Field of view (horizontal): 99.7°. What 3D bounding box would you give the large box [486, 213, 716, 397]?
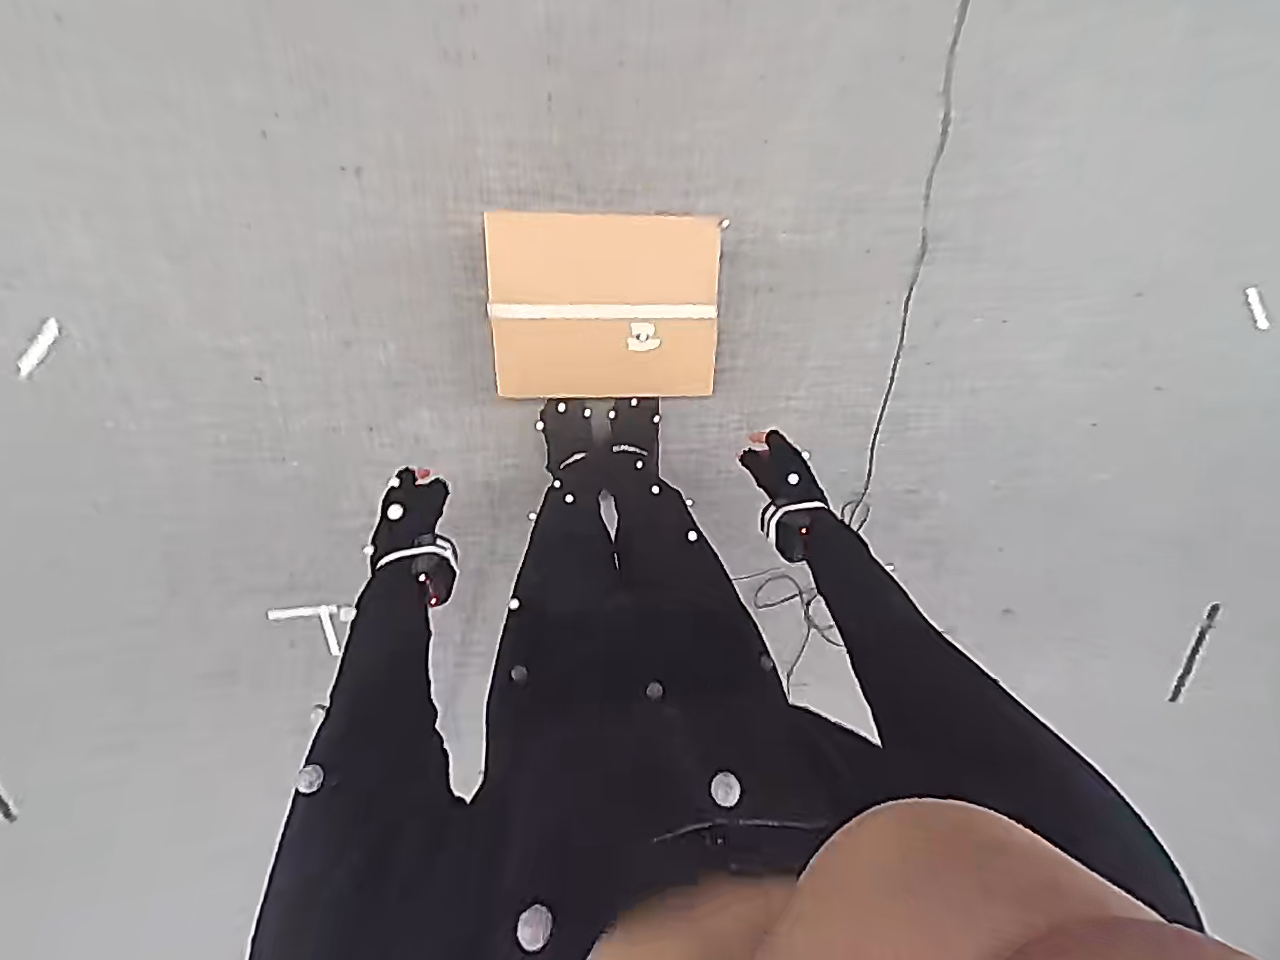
[{"bbox_3d":[-0.081,-0.358,1.117,0.408,0.320,0.320,-2,110,-7],"label":"large box"}]
